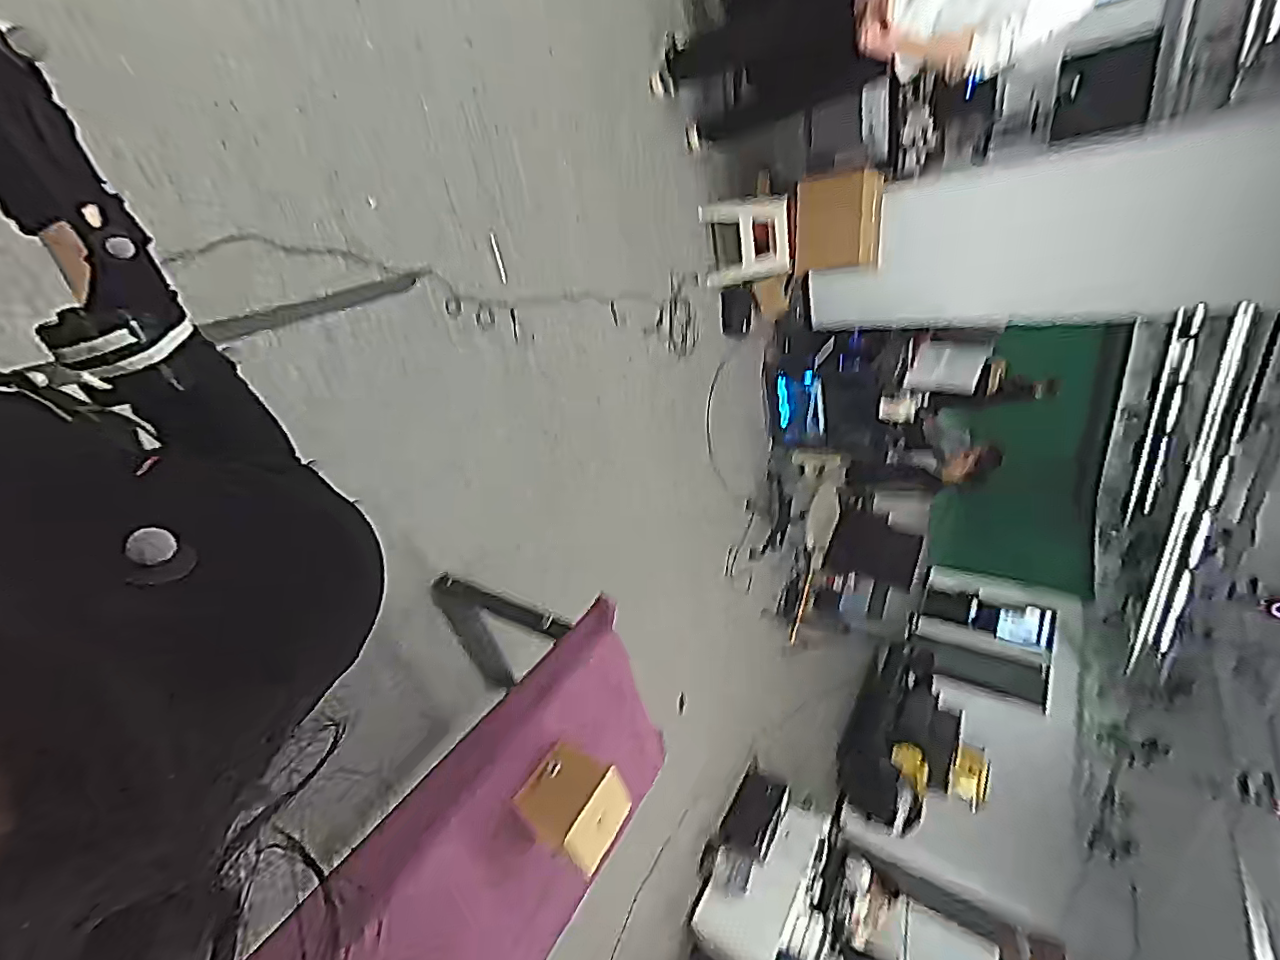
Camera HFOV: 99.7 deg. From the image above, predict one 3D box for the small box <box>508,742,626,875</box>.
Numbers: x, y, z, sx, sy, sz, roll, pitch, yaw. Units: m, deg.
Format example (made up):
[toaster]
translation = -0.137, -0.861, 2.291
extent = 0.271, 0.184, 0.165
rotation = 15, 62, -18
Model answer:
[small box]
translation = -0.163, 0.731, 1.219
extent = 0.168, 0.176, 0.179
rotation = -46, 131, -40
